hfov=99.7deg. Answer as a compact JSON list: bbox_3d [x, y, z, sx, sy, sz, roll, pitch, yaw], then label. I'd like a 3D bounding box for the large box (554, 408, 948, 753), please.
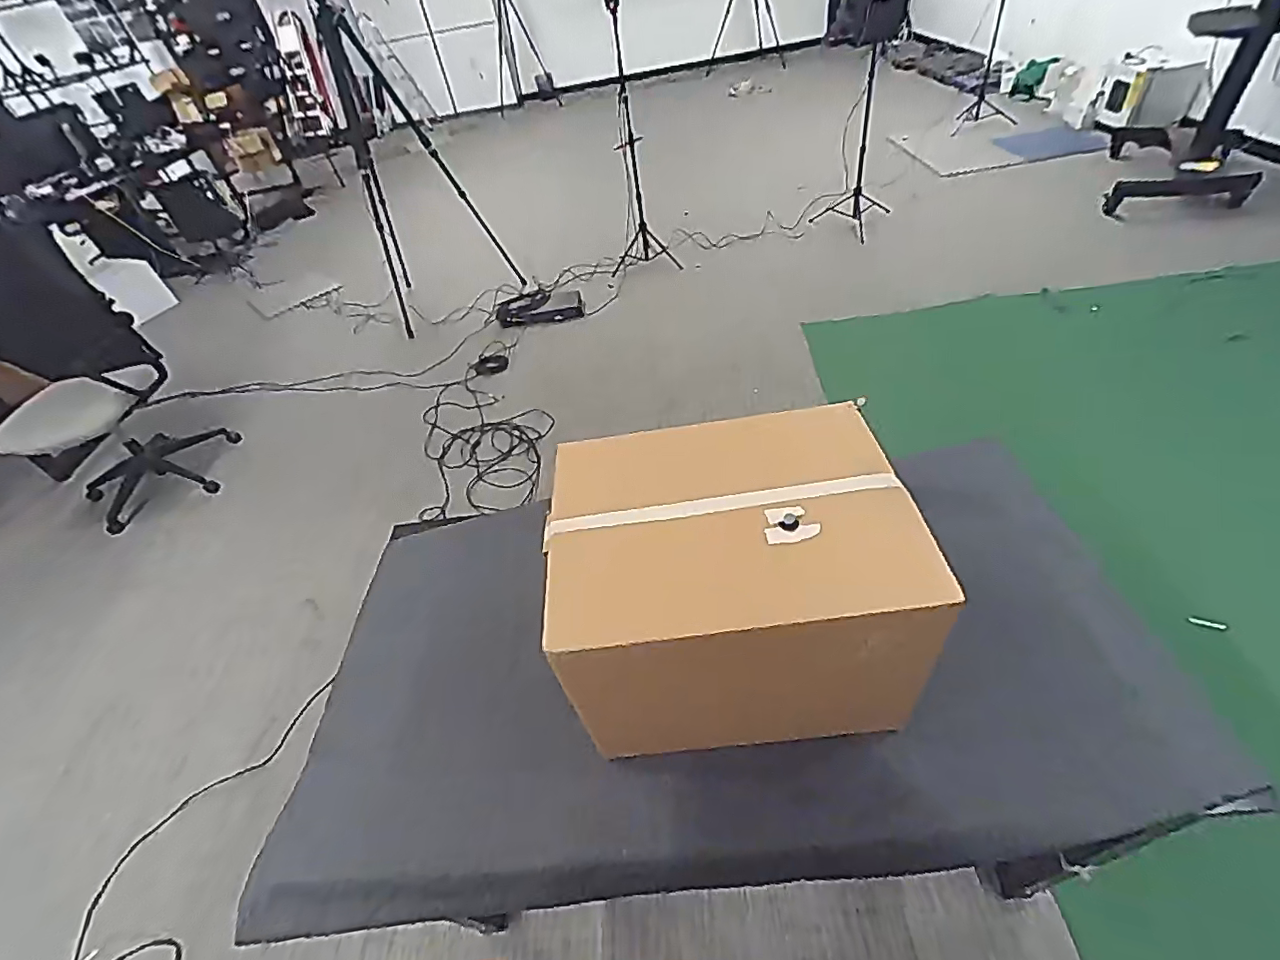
[{"bbox_3d":[0.115,0.141,0.741,0.408,0.320,0.320,-8,45,3],"label":"large box"}]
